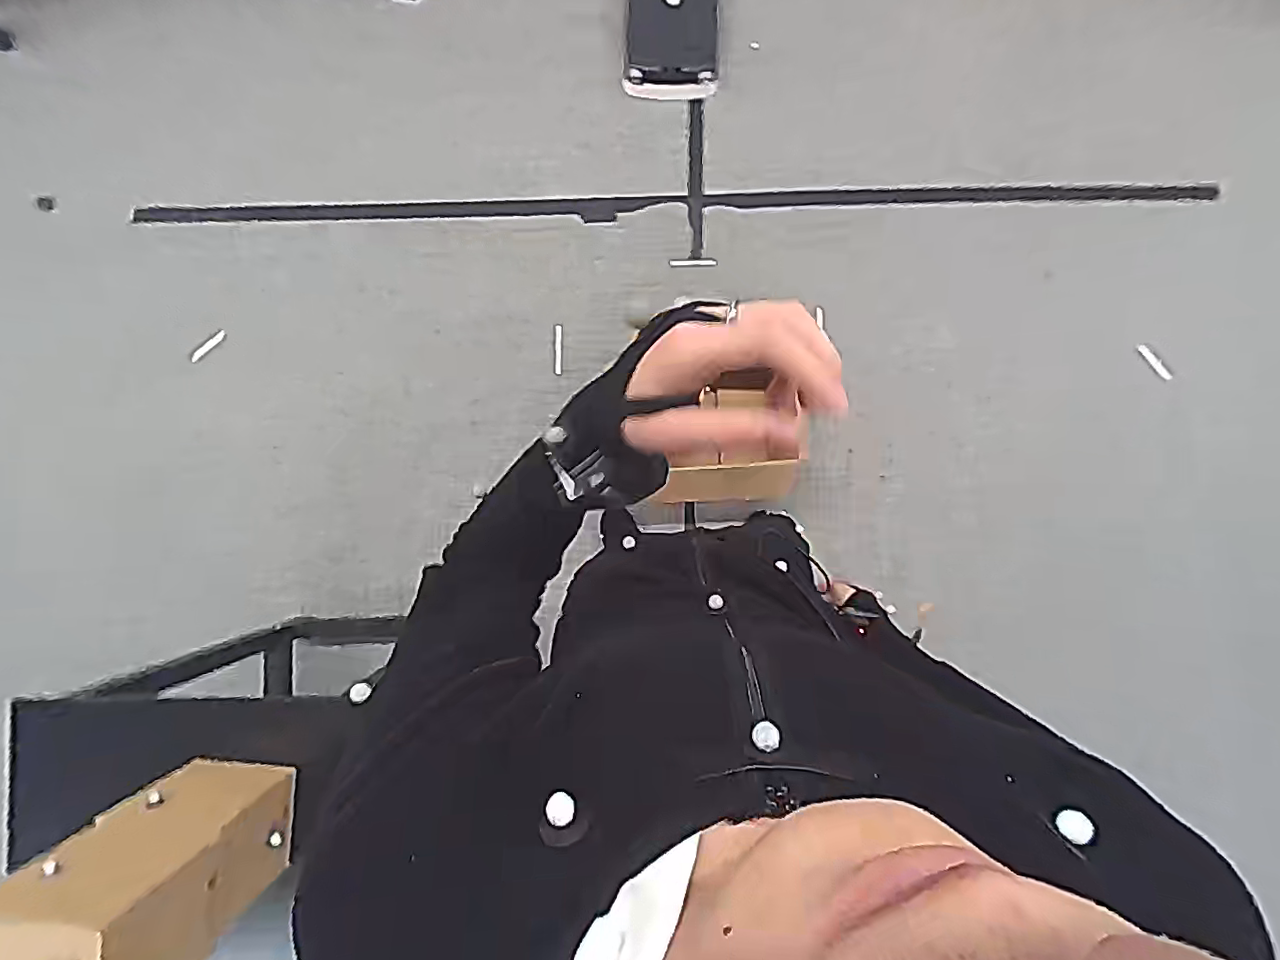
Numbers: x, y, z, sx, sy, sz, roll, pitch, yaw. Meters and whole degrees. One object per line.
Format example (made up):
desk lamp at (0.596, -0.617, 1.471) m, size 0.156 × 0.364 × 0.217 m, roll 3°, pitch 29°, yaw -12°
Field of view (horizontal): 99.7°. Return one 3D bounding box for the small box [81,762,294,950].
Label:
small box at (-0.669, 0.551, 0.817) m, size 0.179 × 0.176 × 0.168 m, roll 5°, pitch 90°, yaw 1°
